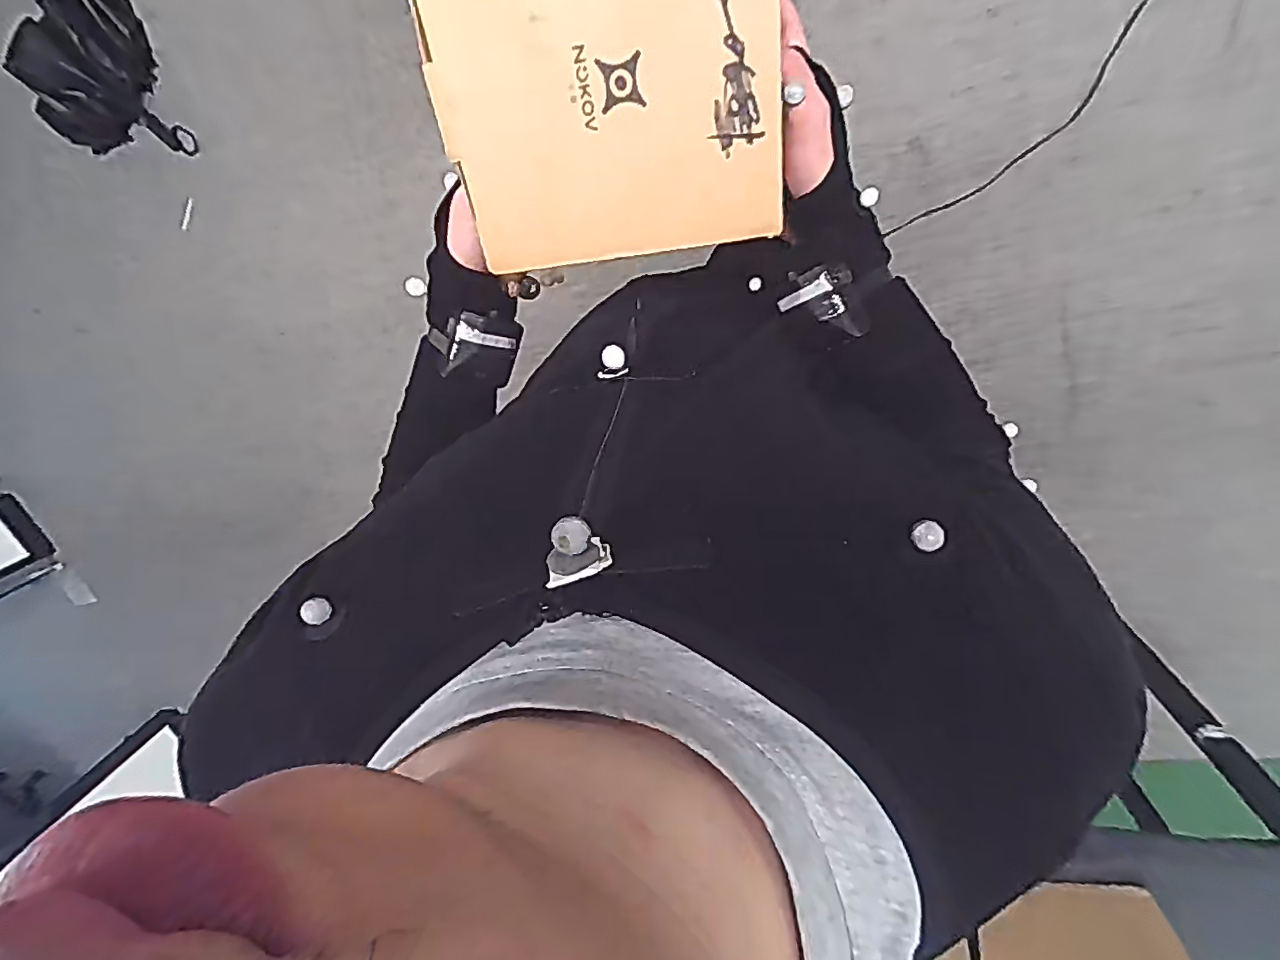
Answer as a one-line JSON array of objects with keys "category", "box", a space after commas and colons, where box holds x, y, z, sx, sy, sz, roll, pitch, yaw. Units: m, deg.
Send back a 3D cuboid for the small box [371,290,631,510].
[{"category": "small box", "box": [-0.129, -0.086, 0.575, 0.176, 0.179, 0.168, 6, 139, 28]}]
